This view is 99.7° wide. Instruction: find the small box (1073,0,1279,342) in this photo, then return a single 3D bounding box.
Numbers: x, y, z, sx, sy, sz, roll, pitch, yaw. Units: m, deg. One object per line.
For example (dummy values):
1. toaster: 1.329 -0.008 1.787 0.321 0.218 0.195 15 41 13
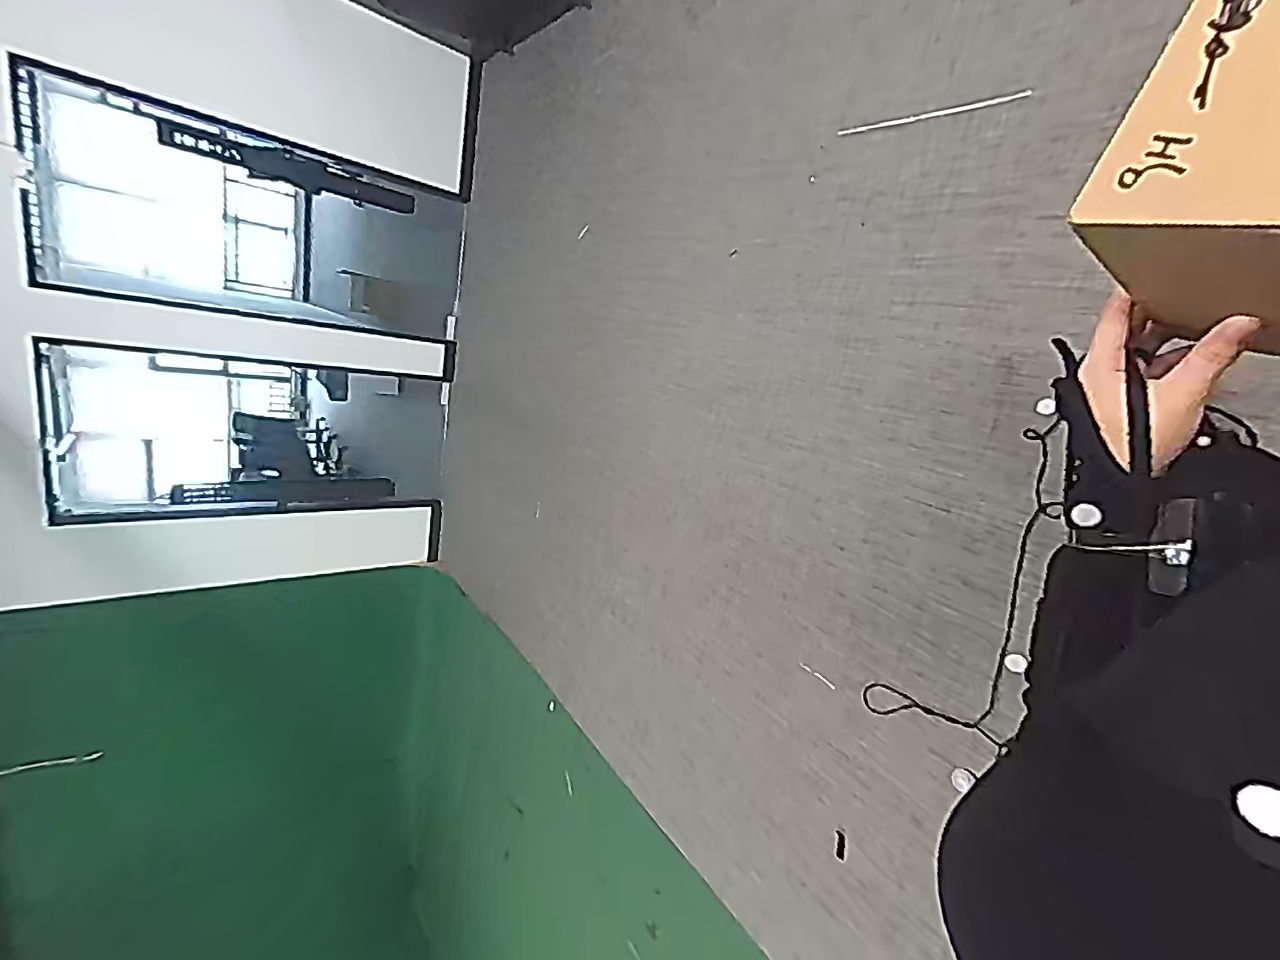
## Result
1. small box: 0.355 -0.156 0.231 0.179 0.176 0.168 47 117 53
